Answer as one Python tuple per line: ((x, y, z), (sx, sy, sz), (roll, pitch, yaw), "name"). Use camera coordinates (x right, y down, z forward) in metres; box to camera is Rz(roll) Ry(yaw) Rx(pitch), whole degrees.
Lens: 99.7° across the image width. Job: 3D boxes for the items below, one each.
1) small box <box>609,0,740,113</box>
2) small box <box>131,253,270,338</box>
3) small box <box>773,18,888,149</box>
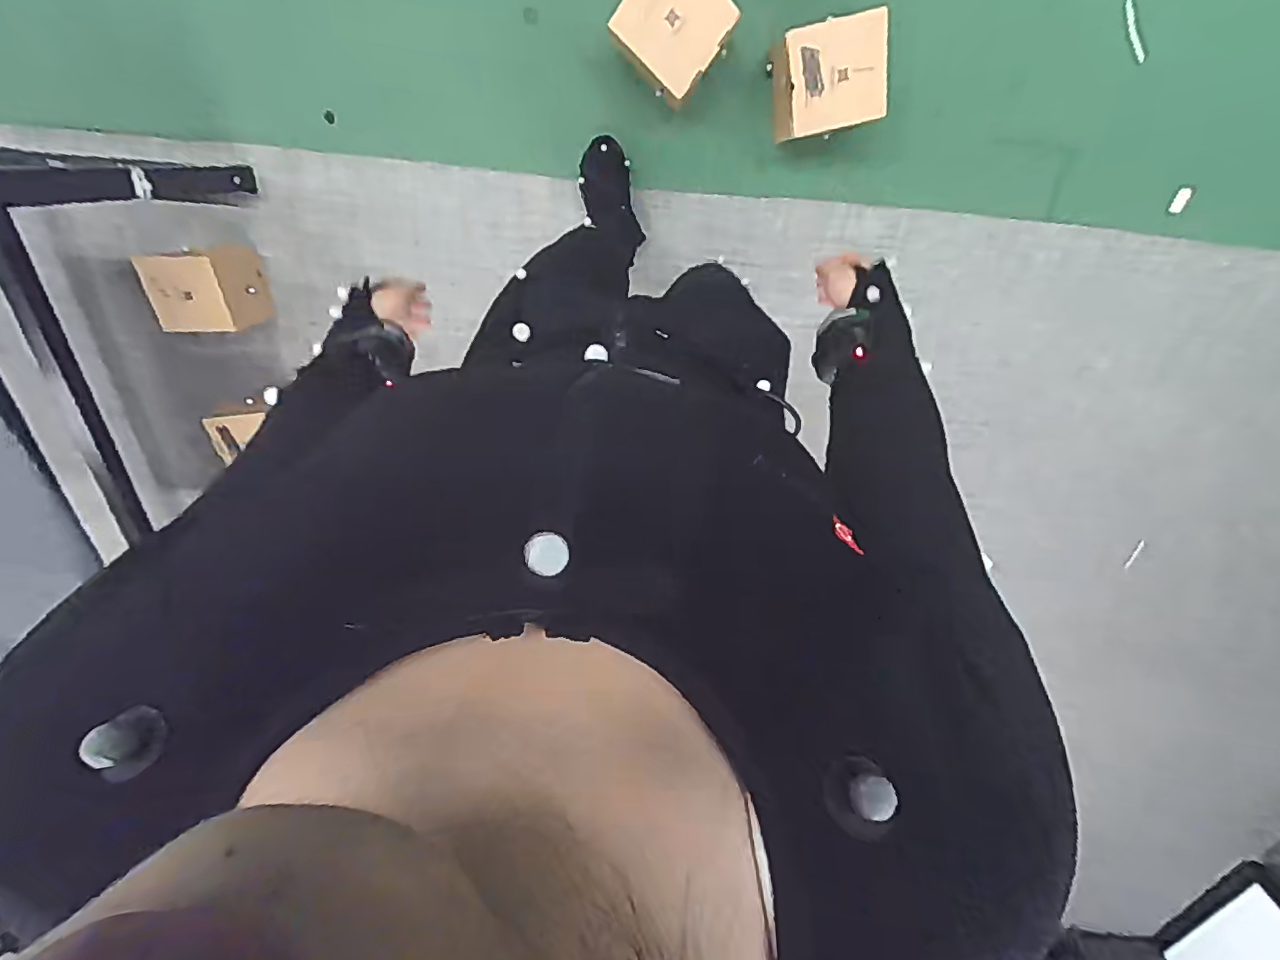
((0.064, -0.830, 1.021), (0.179, 0.176, 0.168), (36, 114, -17), "small box")
((-1.017, -0.439, 1.277), (0.179, 0.176, 0.168), (1, 119, 1), "small box")
((0.361, -0.757, 1.053), (0.179, 0.176, 0.168), (-9, 119, 6), "small box")
